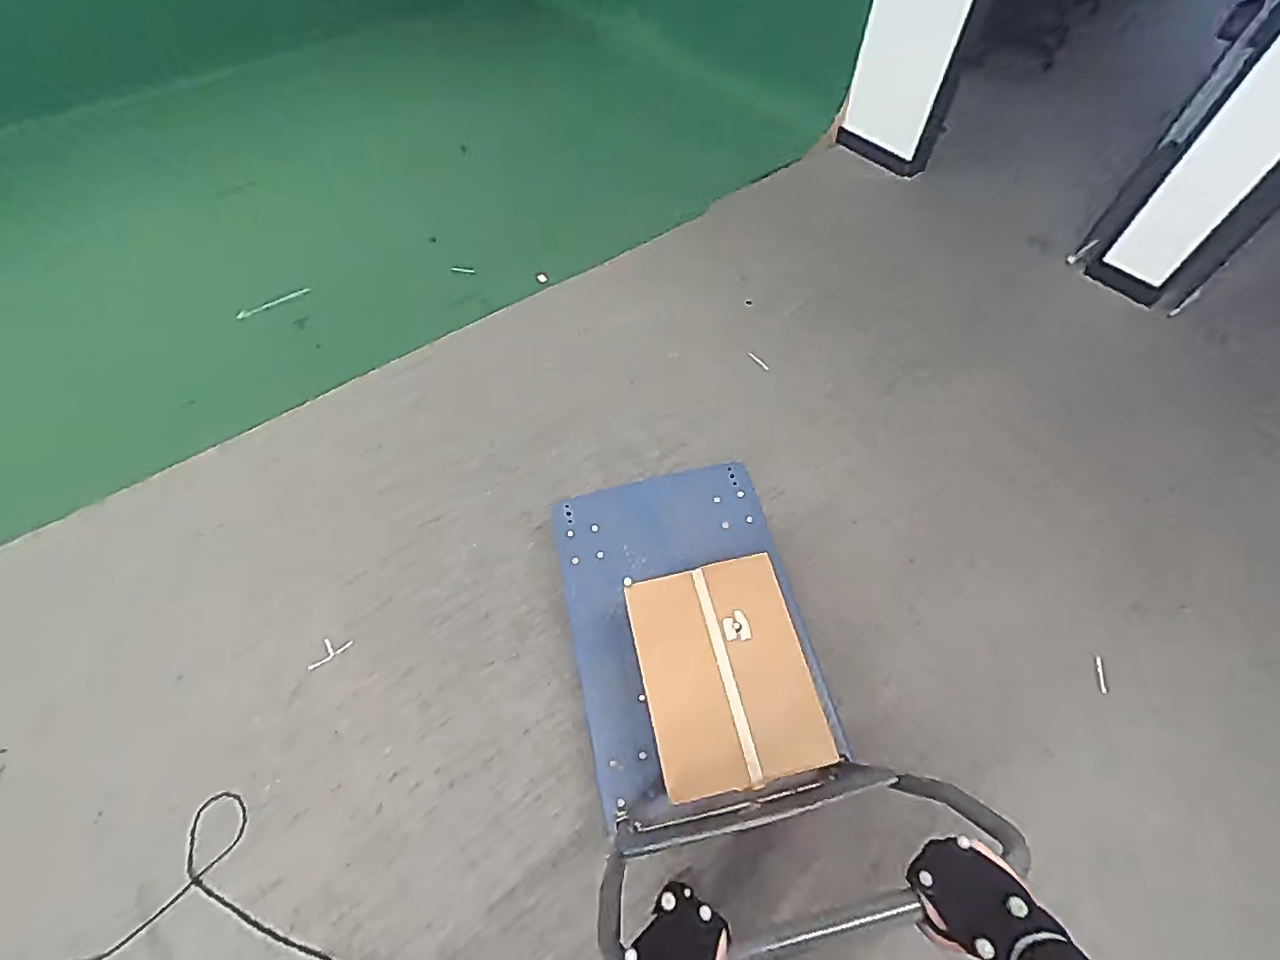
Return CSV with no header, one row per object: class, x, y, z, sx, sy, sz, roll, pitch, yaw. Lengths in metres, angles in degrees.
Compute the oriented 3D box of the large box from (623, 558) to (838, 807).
large box,0.168,0.437,1.168,0.320,0.320,0.408,-13,62,-4
